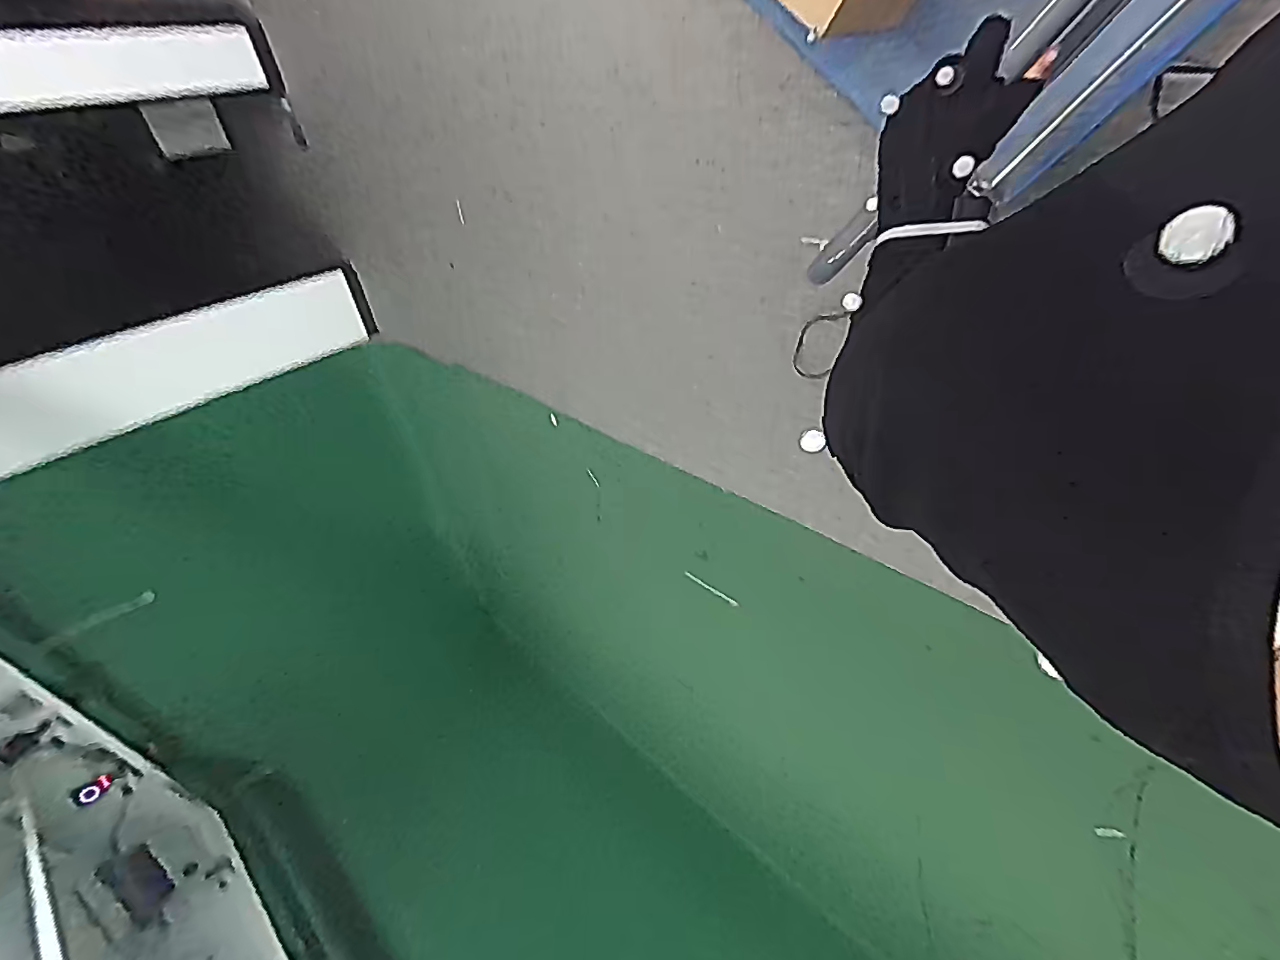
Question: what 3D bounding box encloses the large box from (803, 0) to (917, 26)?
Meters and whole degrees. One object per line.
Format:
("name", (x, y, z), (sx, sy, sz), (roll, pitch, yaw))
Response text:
("large box", (0.351, -0.956, 0.746), (0.320, 0.320, 0.408), (48, 146, 7))
